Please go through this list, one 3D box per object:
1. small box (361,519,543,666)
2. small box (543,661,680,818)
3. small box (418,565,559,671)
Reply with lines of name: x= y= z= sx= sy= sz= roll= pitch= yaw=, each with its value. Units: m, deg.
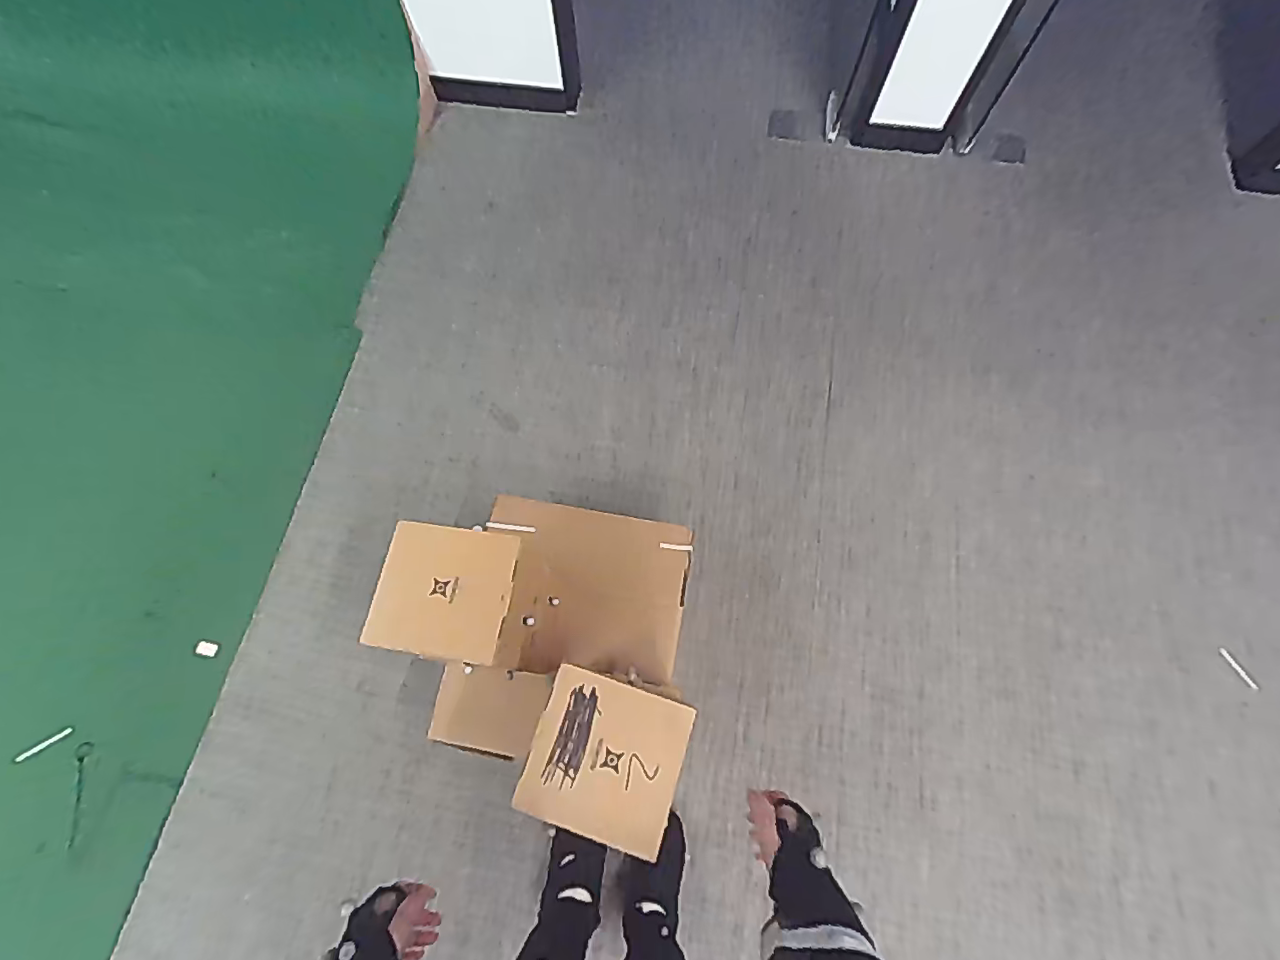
small box: x=-0.252 y=0.168 z=0.774 sx=0.179 sy=0.176 sz=0.168 roll=8 pitch=69 yaw=3
small box: x=-0.040 y=0.399 z=0.858 sx=0.168 sy=0.176 sz=0.179 roll=13 pitch=70 yaw=5
small box: x=-0.244 y=0.231 z=0.925 sx=0.179 sy=0.176 sz=0.168 roll=7 pitch=68 yaw=4
